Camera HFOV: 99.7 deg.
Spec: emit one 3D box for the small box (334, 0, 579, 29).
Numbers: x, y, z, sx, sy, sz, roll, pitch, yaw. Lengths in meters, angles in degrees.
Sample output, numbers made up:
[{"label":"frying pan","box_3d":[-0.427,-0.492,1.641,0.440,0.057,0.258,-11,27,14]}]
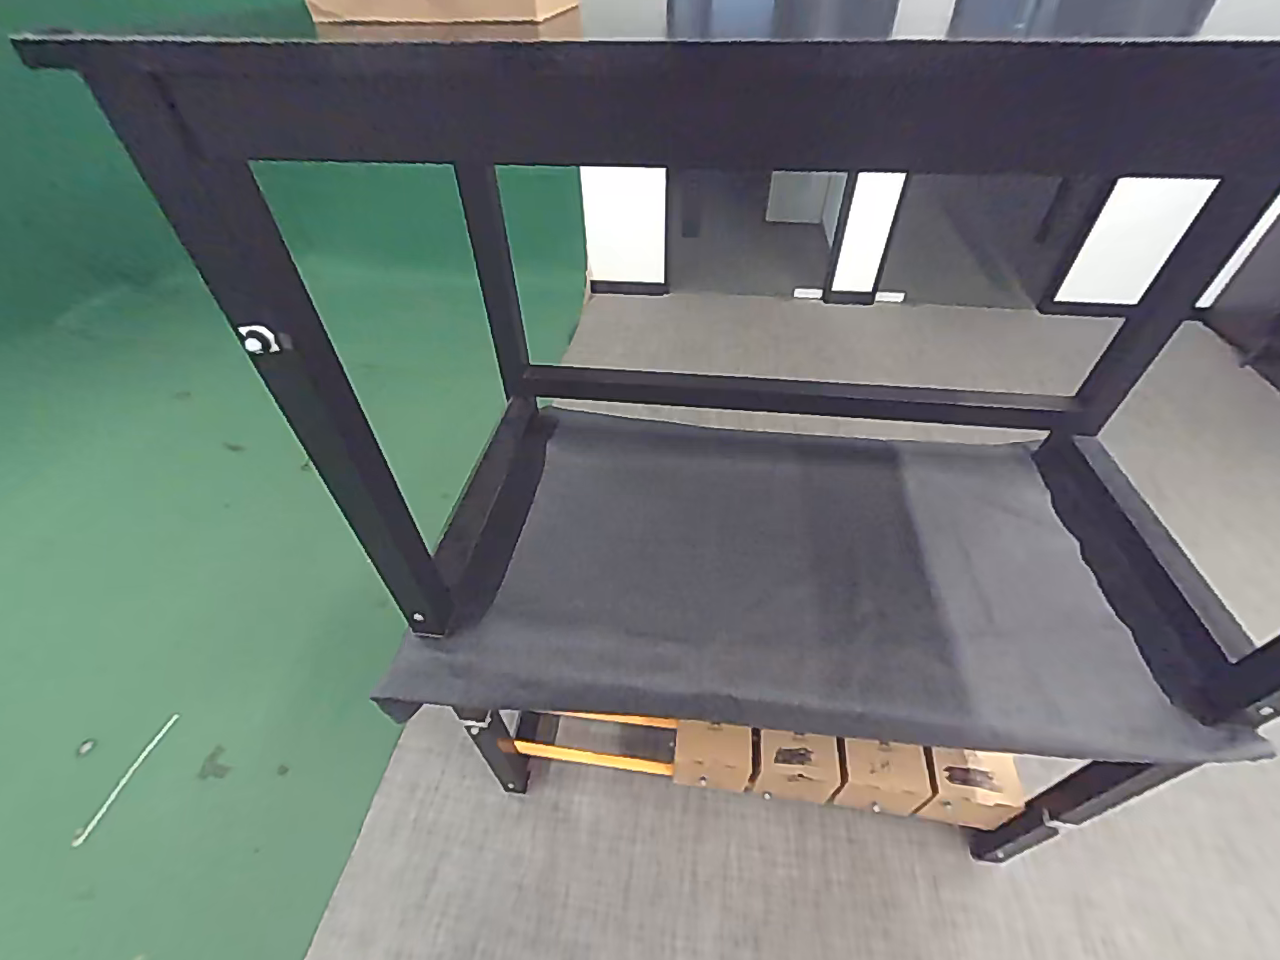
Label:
[{"label":"small box","box_3d":[-0.139,-0.443,0.390,0.168,0.176,0.179,2,45,4]}]
